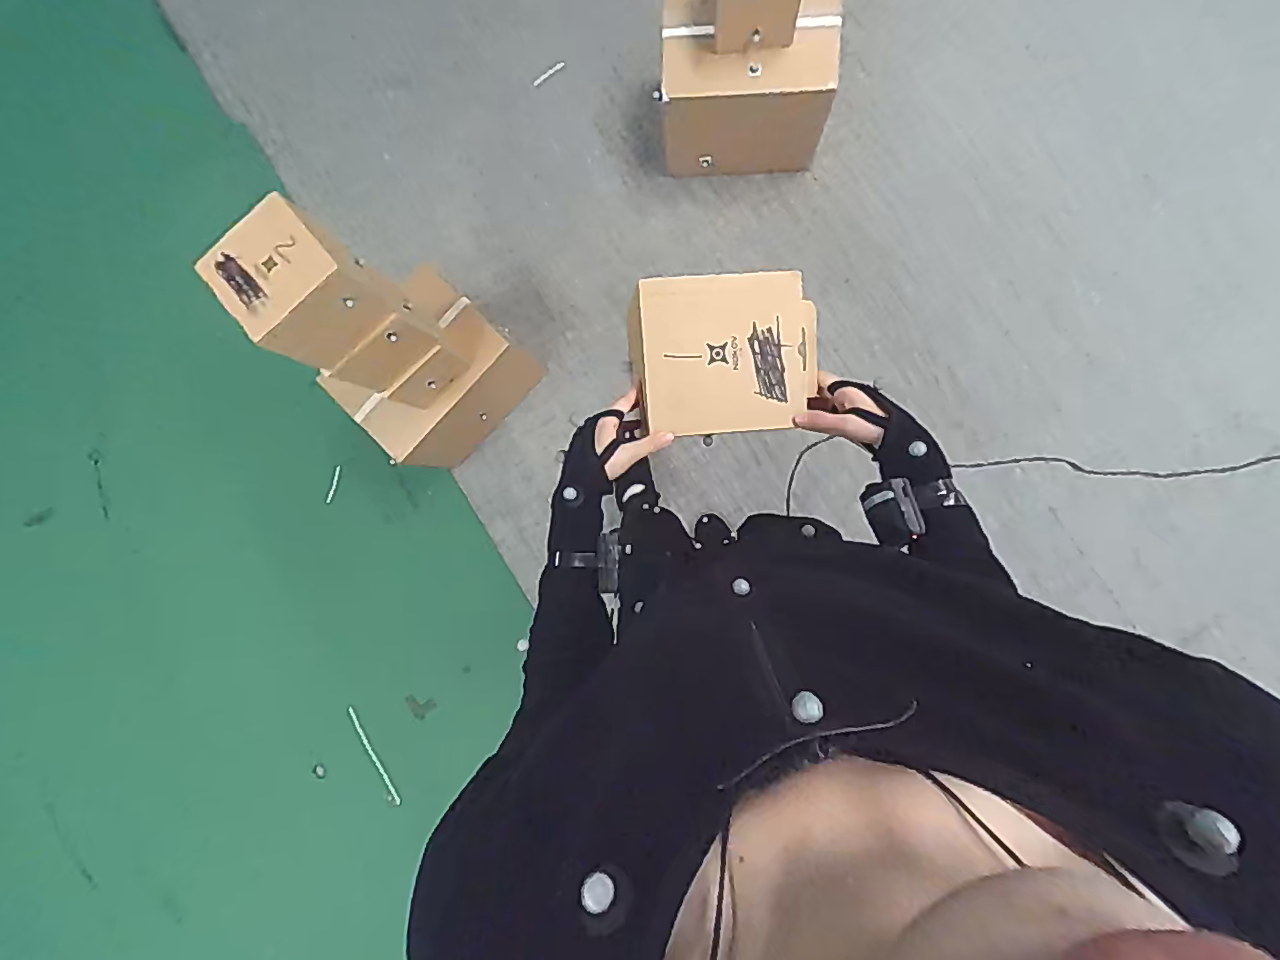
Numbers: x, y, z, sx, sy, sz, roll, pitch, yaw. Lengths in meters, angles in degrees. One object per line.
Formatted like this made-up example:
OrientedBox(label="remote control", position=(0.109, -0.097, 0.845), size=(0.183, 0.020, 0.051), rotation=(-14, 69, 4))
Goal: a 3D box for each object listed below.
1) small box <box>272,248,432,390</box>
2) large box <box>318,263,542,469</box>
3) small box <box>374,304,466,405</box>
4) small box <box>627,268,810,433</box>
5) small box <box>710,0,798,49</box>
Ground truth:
OrientedBox(label="small box", position=(-0.542, -0.297, 1.042), size=(0.179, 0.176, 0.168), rotation=(-40, 85, 3))
OrientedBox(label="large box", position=(-0.537, -0.279, 1.451), size=(0.320, 0.320, 0.408), rotation=(44, 94, 7))
OrientedBox(label="small box", position=(-0.523, -0.284, 1.203), size=(0.168, 0.176, 0.179), rotation=(-41, 85, 3))
OrientedBox(label="small box", position=(0.082, -0.142, 0.638), size=(0.179, 0.176, 0.168), rotation=(-4, 95, -6))
OrientedBox(label="small box", position=(0.242, -1.065, 1.147), size=(0.179, 0.176, 0.168), rotation=(-2, 86, 5))
